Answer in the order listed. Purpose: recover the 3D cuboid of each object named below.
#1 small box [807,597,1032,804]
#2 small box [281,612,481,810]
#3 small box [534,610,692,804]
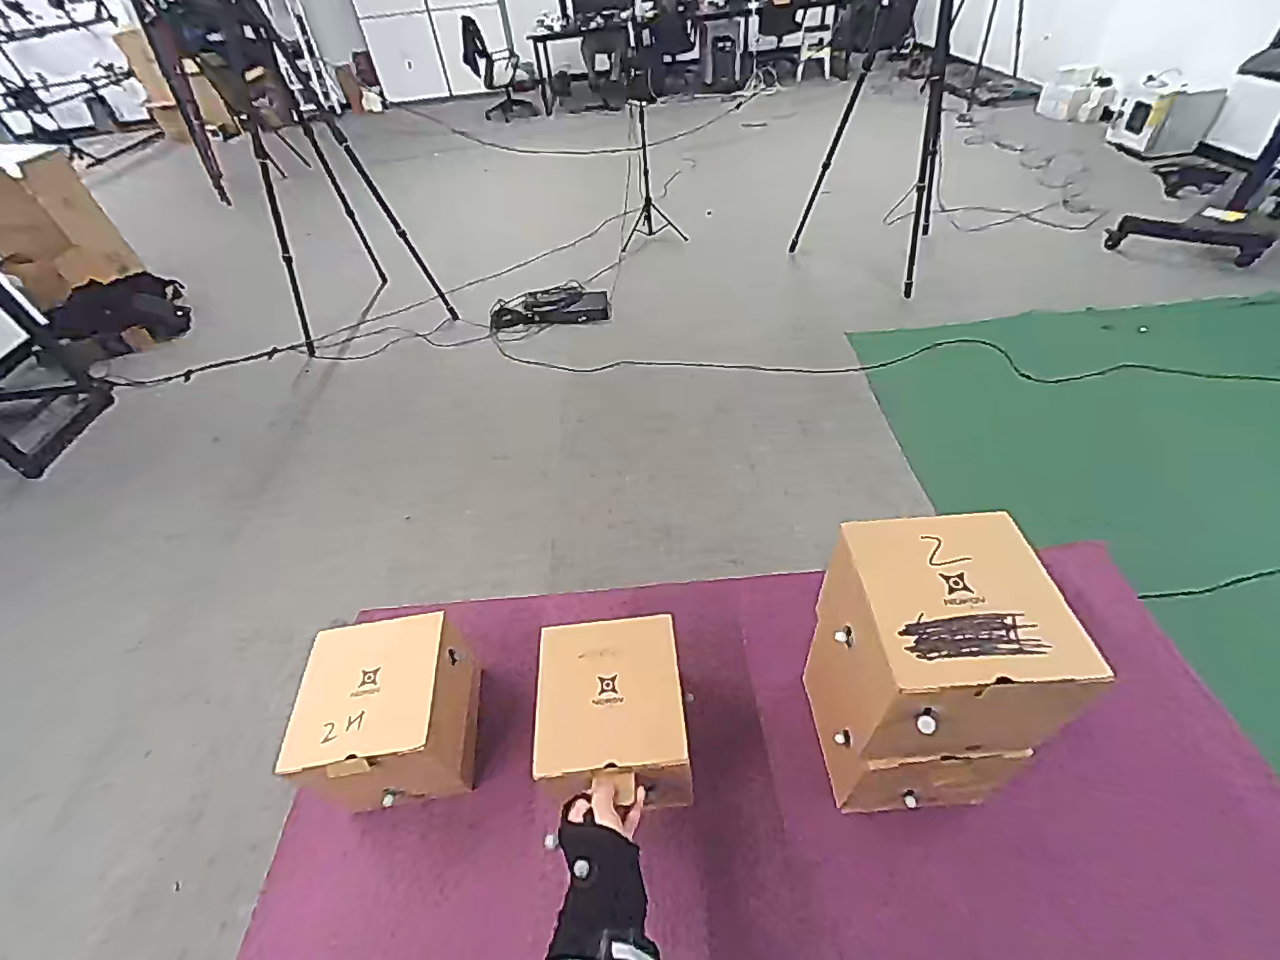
[{"bbox_3d":[0.310,0.266,0.652,0.168,0.176,0.179,-7,46,2],"label":"small box"},{"bbox_3d":[-0.314,0.300,0.704,0.168,0.176,0.179,-10,46,-1],"label":"small box"},{"bbox_3d":[-0.027,0.289,0.678,0.168,0.176,0.179,-6,45,1],"label":"small box"}]
